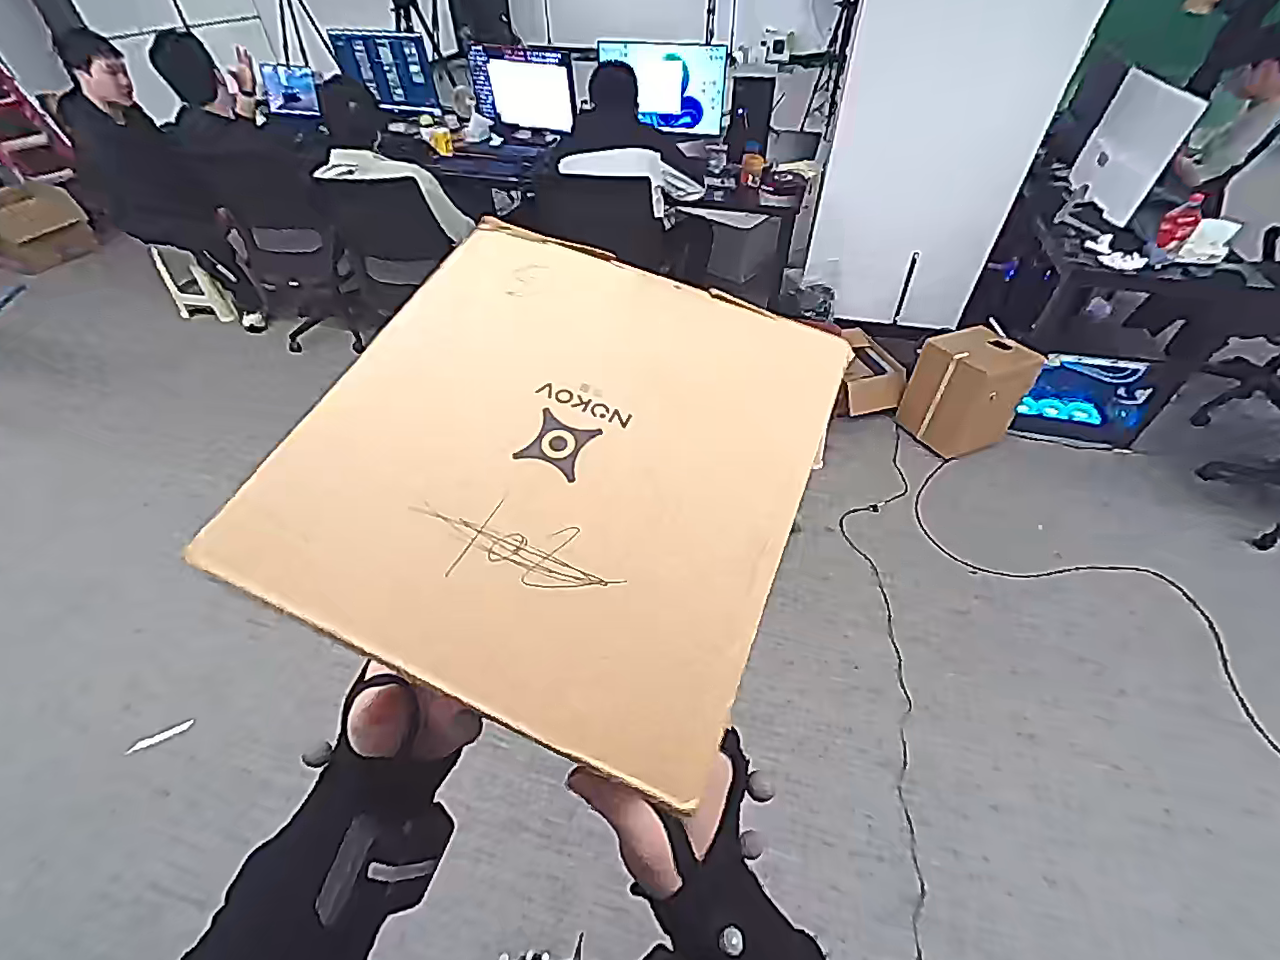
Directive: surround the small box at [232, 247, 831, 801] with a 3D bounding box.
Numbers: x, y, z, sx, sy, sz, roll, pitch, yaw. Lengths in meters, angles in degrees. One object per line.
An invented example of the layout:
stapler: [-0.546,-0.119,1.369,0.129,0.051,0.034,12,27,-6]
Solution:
small box: [-0.029,0.028,0.269,0.168,0.176,0.179,20,64,9]
